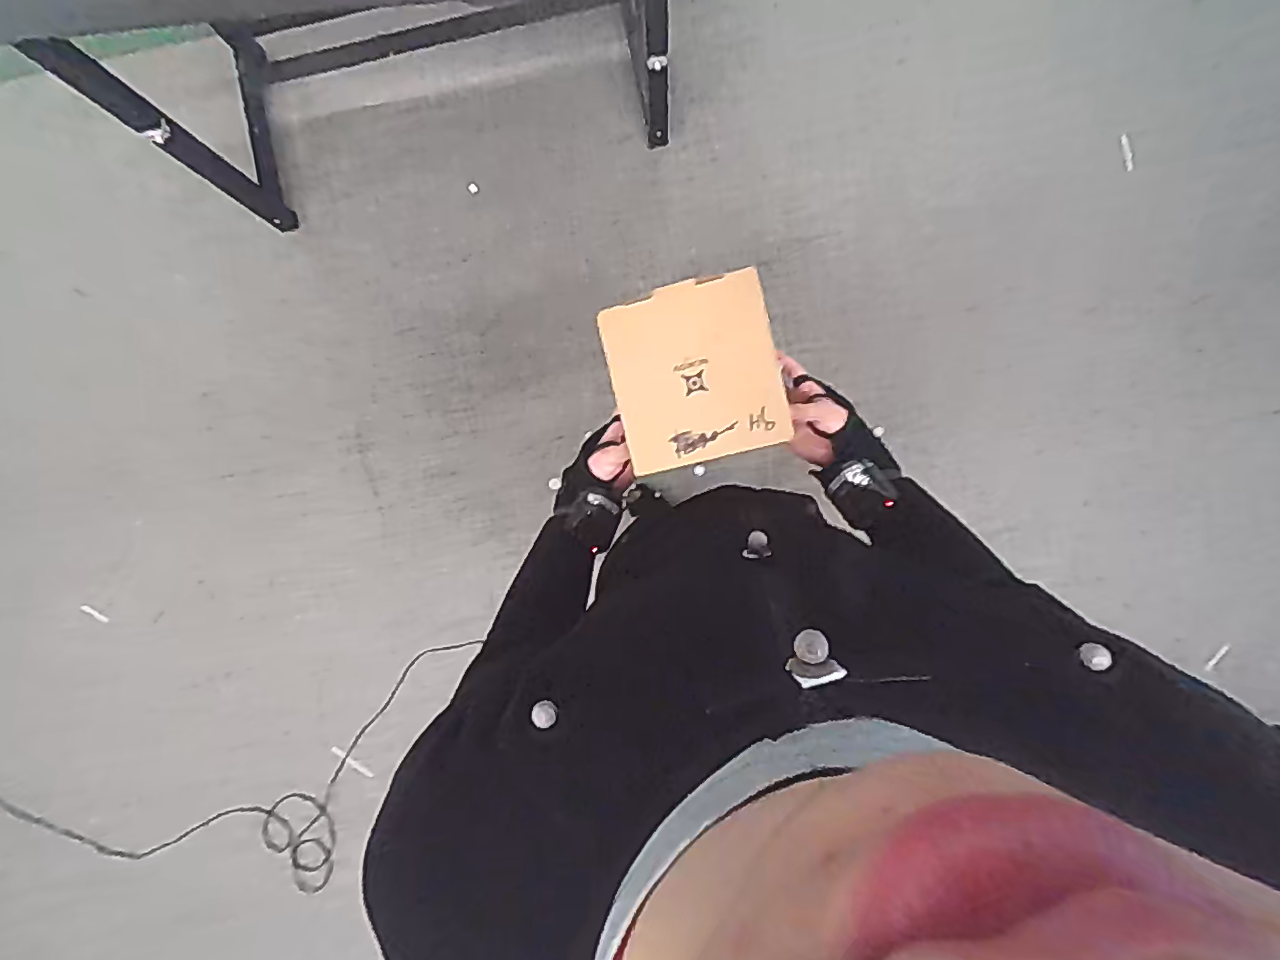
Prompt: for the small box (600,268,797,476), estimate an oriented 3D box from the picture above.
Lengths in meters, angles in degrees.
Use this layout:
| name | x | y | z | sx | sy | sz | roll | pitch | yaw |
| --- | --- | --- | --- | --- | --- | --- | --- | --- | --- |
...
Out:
| name | x | y | z | sx | sy | sz | roll | pitch | yaw |
| --- | --- | --- | --- | --- | --- | --- | --- | --- | --- |
| small box | 0.069 | -0.110 | 0.618 | 0.168 | 0.176 | 0.179 | -15 | 92 | 11 |
